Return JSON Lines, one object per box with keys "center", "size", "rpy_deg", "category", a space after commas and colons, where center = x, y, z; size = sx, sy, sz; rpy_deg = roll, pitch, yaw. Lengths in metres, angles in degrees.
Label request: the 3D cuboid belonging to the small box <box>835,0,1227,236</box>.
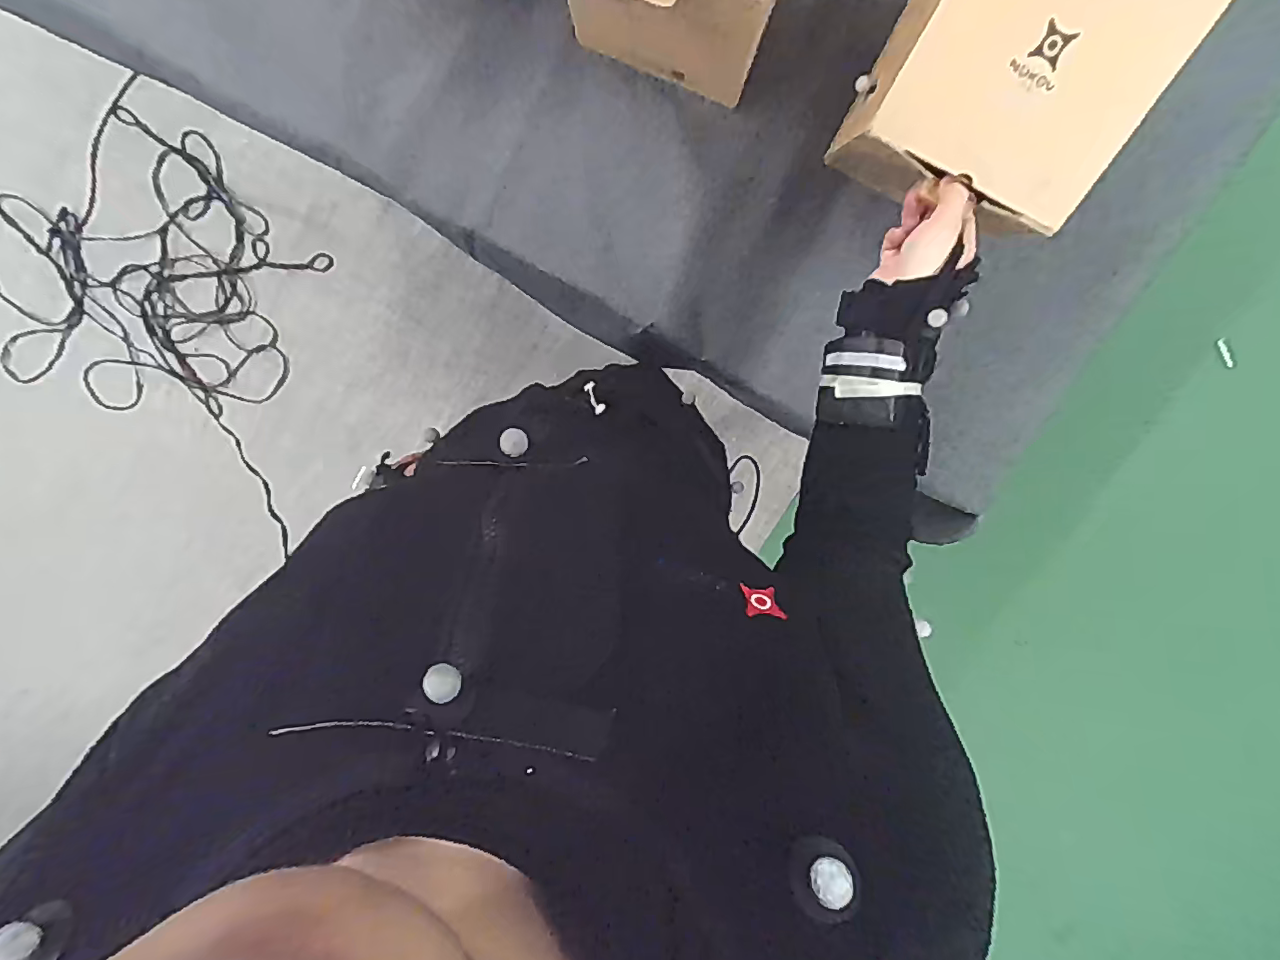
{"center": [0.281, -0.318, 0.438], "size": [0.168, 0.176, 0.179], "rpy_deg": [24, 114, -5], "category": "small box"}
